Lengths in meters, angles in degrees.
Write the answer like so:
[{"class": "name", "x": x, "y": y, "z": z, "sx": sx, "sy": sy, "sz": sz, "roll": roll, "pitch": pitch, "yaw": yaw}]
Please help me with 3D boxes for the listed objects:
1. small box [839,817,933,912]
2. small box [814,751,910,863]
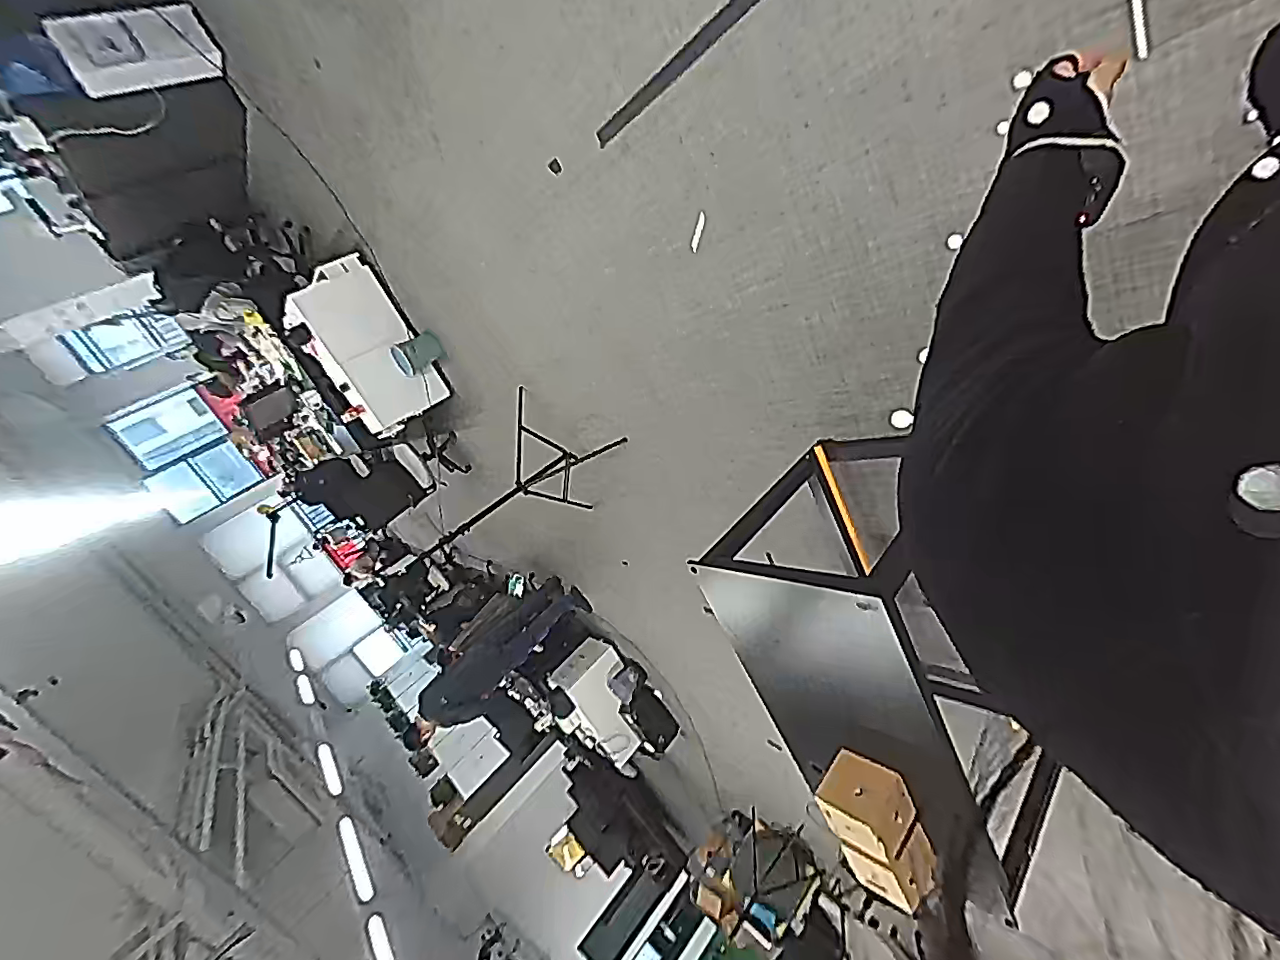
[{"class": "small box", "x": 0.715, "y": 1.072, "z": 1.562, "sx": 0.168, "sy": 0.176, "sz": 0.179, "roll": -3, "pitch": 120, "yaw": 55}, {"class": "small box", "x": 0.620, "y": 0.892, "z": 1.493, "sx": 0.179, "sy": 0.176, "sz": 0.168, "roll": 0, "pitch": 124, "yaw": 53}]
